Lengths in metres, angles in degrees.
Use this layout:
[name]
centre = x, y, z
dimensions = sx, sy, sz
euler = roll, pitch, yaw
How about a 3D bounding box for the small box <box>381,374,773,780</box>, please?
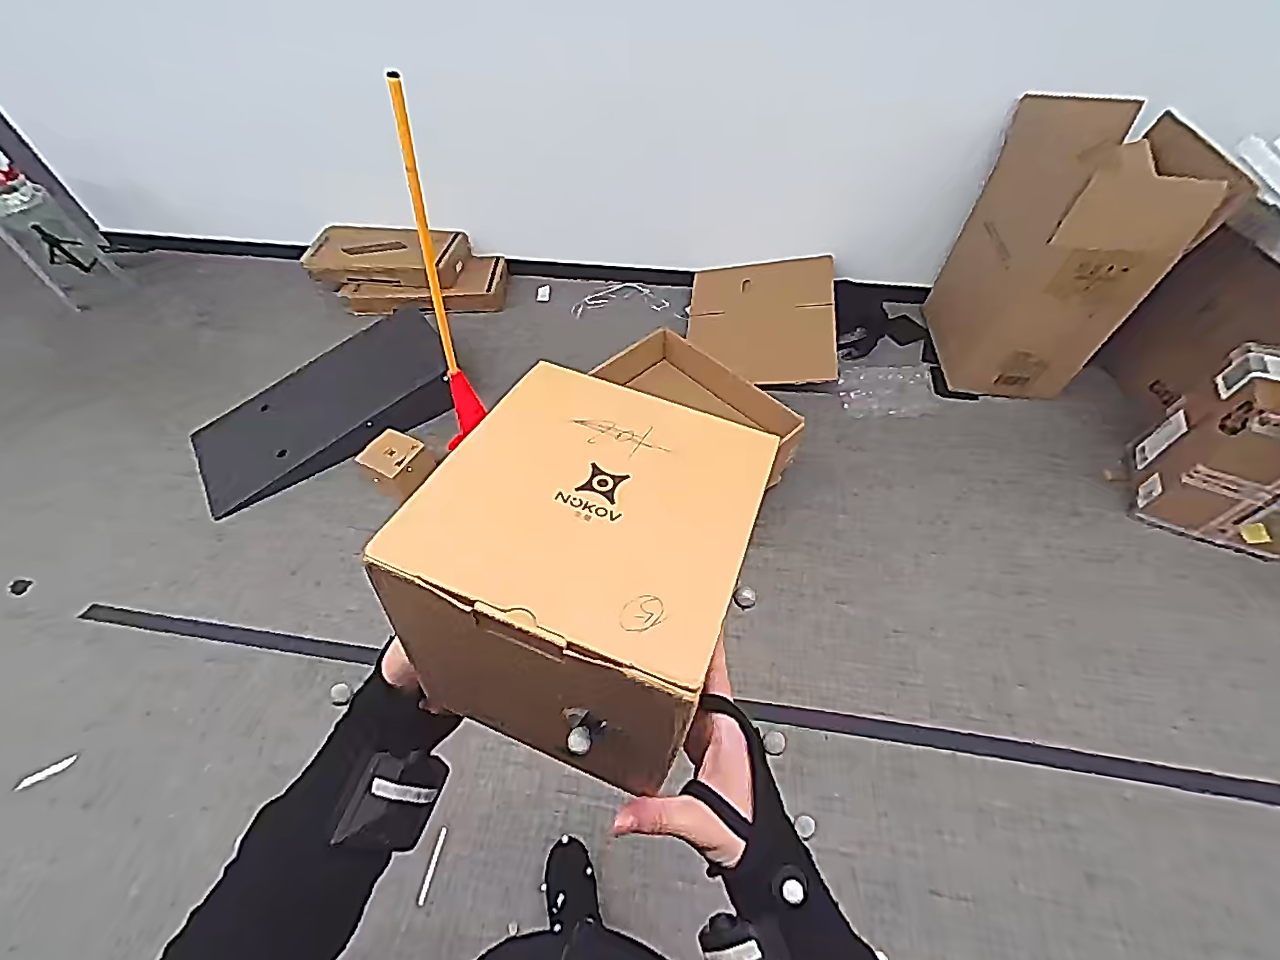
[small box]
centre = -0.029, 0.064, 0.358
dimensions = 0.168, 0.176, 0.179
euler = 20, 47, 9
